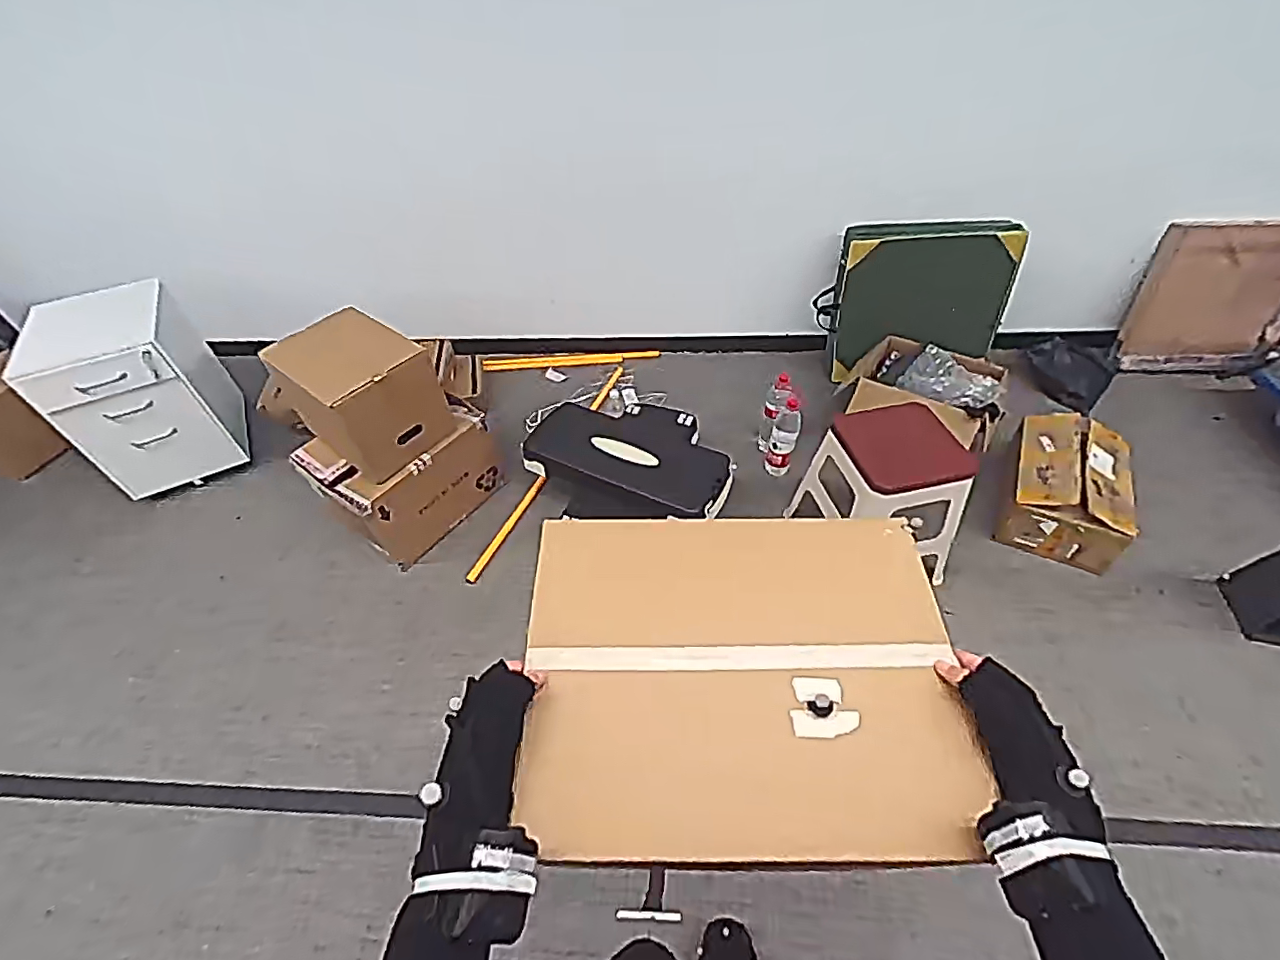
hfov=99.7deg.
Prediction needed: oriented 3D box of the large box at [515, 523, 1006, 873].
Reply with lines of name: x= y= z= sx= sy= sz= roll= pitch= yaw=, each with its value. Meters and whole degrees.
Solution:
large box: x=0.094 y=0.264 z=0.637 sx=0.408 sy=0.320 sz=0.320 roll=0 pitch=53 yaw=0
